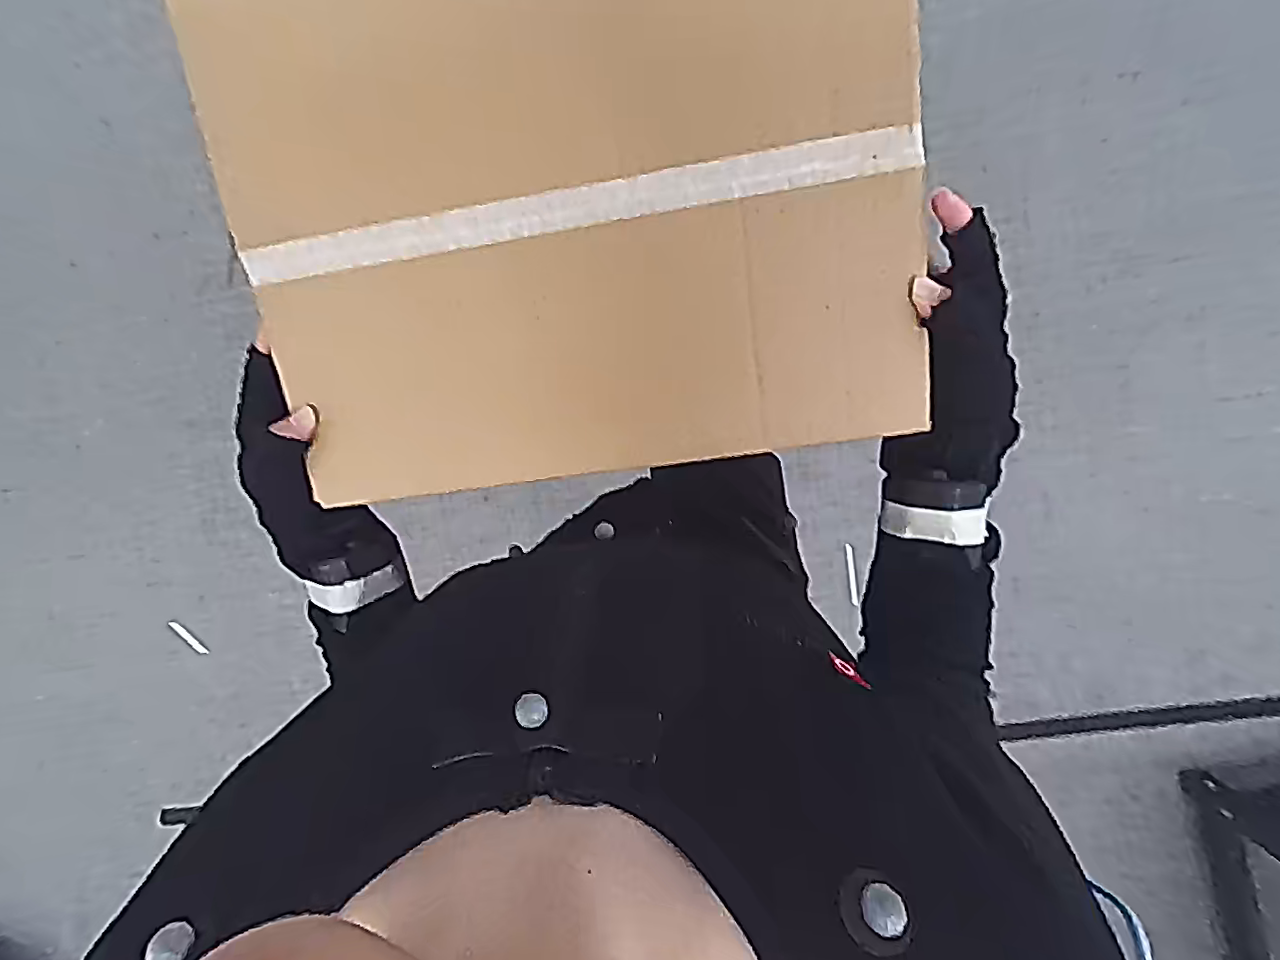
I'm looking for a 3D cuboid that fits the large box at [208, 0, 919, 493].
[{"bbox_3d":[-0.033,-0.197,0.476,0.408,0.320,0.320,-8,103,6],"label":"large box"}]
